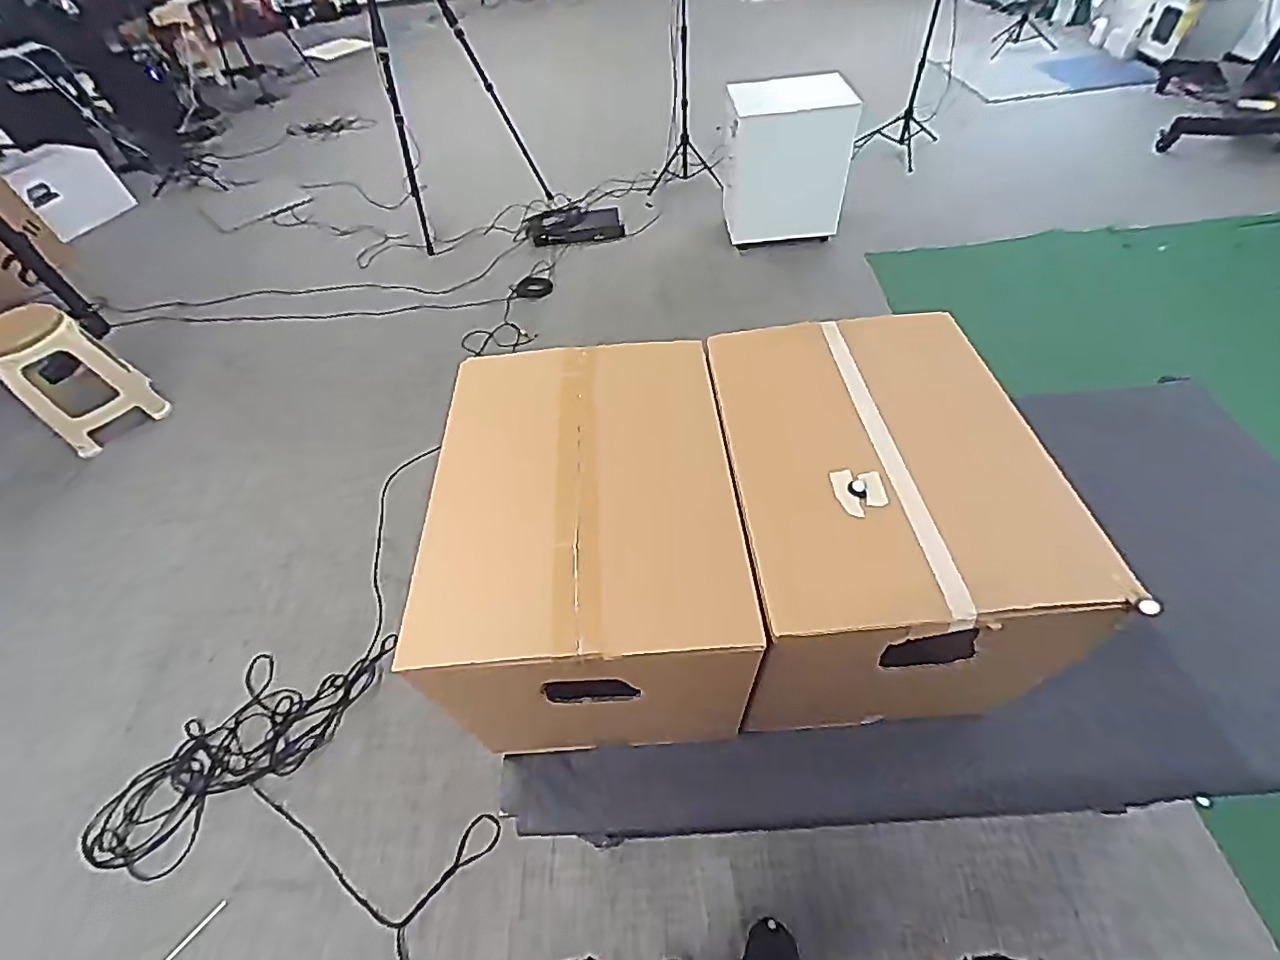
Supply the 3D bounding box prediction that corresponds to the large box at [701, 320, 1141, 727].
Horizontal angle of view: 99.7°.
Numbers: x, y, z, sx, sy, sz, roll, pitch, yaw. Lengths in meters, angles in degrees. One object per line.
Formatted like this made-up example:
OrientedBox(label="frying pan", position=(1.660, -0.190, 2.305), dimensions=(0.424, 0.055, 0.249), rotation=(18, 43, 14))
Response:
OrientedBox(label="large box", position=(0.260, 0.054, 0.686), dimensions=(0.320, 0.320, 0.408), rotation=(-6, 52, 2))
